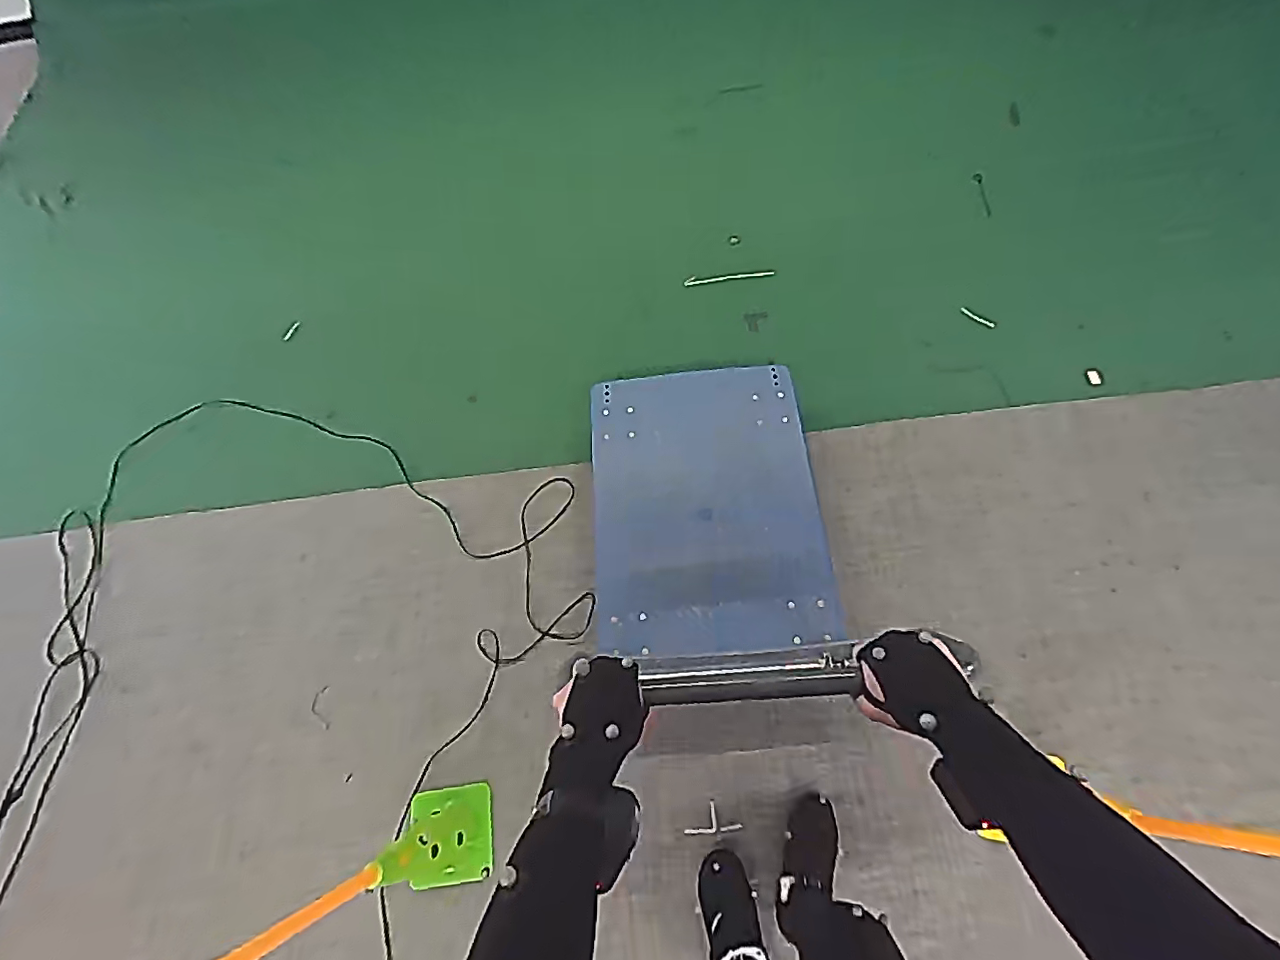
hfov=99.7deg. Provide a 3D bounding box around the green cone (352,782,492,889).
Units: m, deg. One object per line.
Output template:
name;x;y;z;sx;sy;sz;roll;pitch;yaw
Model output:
green cone;-0.472;0.773;1.130;0.202;0.368;0.200;-11;66;2
